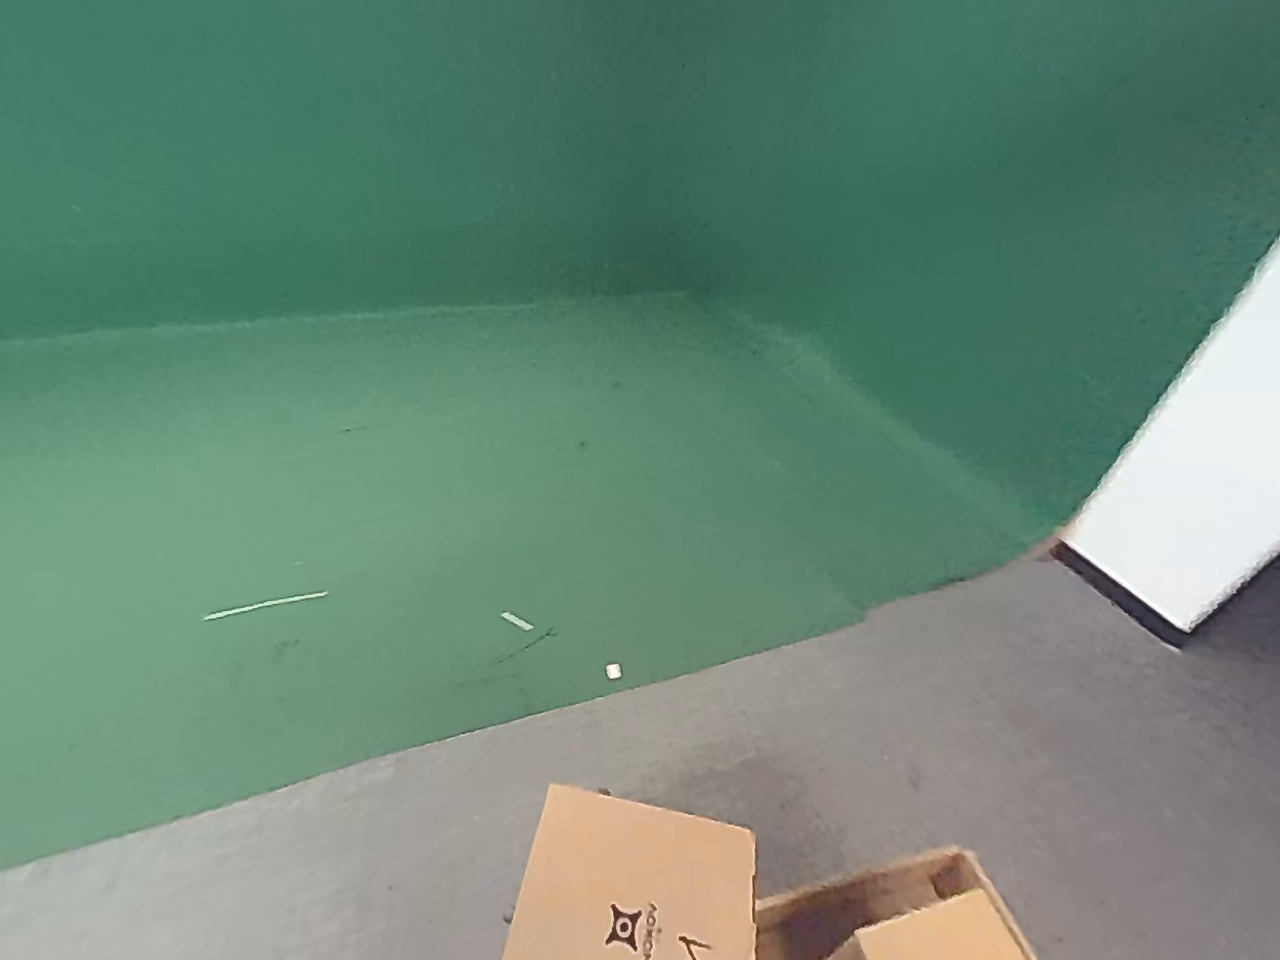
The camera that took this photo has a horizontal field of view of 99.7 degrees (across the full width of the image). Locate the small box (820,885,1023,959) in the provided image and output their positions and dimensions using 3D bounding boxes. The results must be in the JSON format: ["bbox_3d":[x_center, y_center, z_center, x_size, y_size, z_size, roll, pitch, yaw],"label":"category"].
[{"bbox_3d":[0.322,0.585,0.587,0.168,0.176,0.179,-7,42,-12],"label":"small box"}]

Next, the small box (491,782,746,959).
[{"bbox_3d":[-0.021,0.380,0.442,0.179,0.176,0.168,12,42,2],"label":"small box"}]
